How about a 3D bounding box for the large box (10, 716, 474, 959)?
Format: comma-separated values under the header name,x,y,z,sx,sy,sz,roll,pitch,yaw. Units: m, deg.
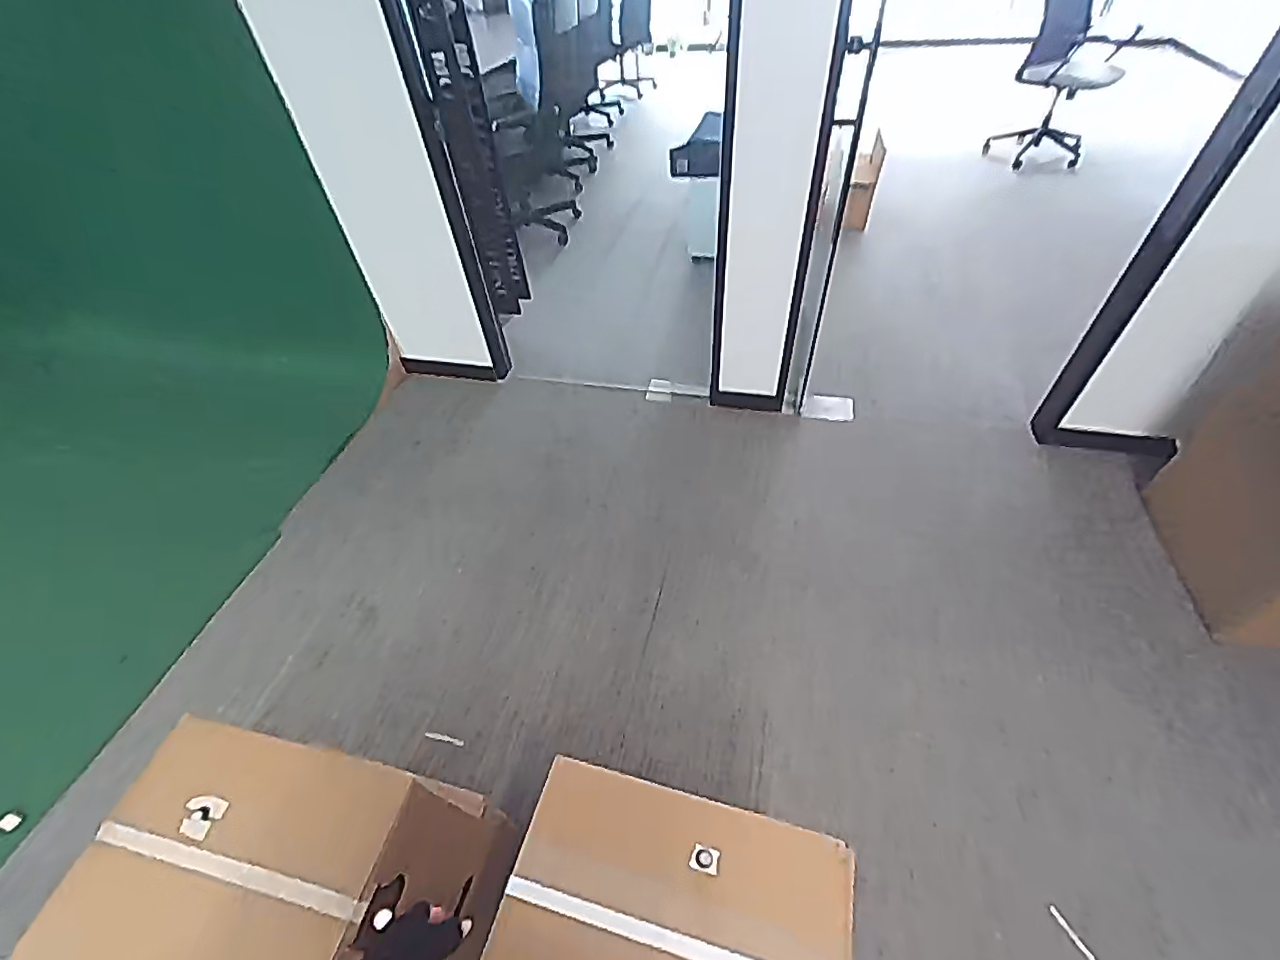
name,x,y,z,sx,sy,sz,roll,pitch,yaw
large box,-0.532,0.595,0.817,0.408,0.320,0.320,7,51,12
